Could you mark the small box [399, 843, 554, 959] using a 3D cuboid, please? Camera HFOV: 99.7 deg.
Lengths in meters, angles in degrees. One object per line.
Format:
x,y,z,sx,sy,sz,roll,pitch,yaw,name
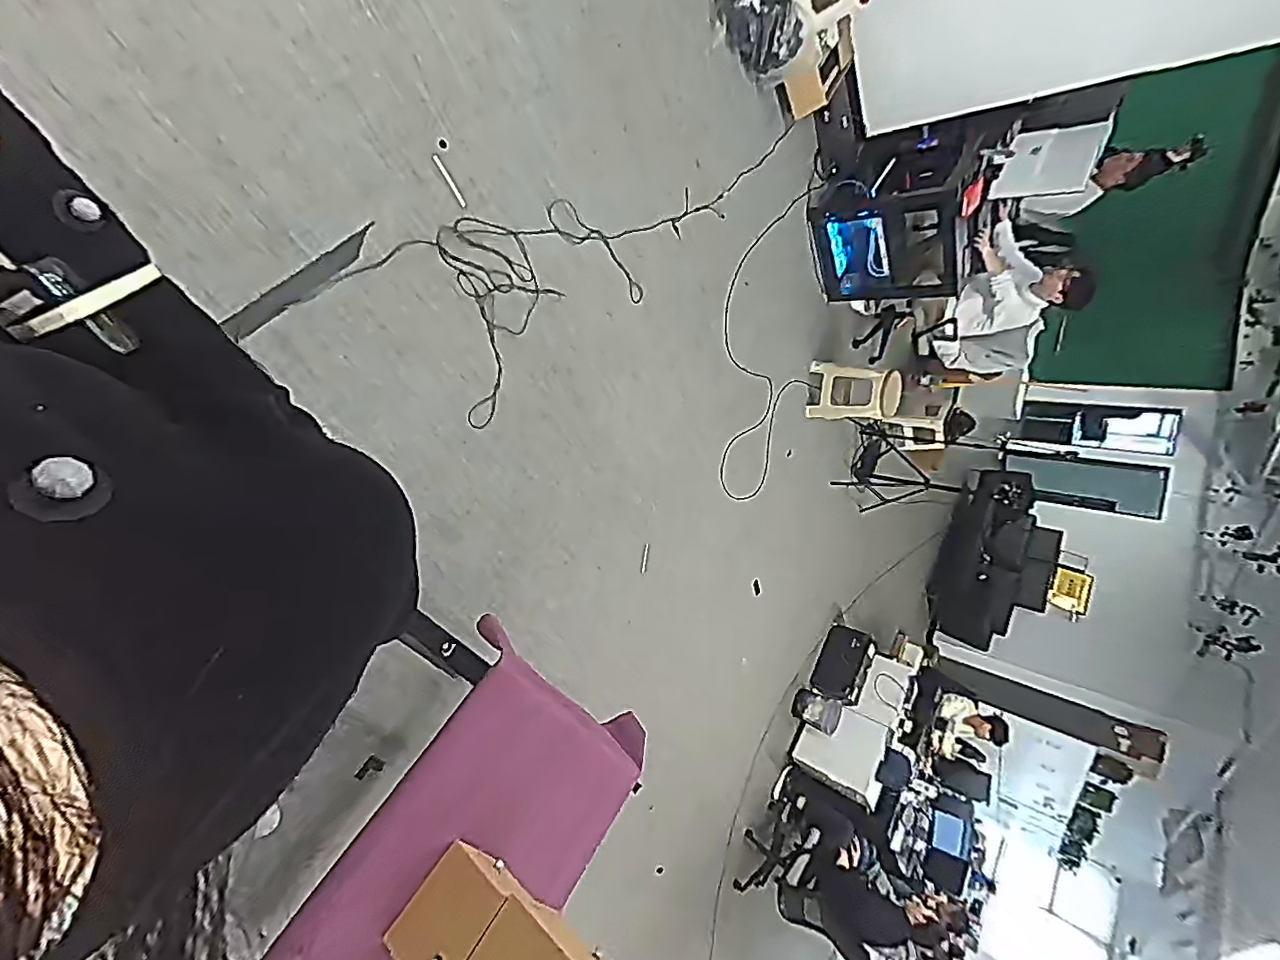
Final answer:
-0.292,0.794,0.951,0.179,0.176,0.168,-51,133,-28,small box
